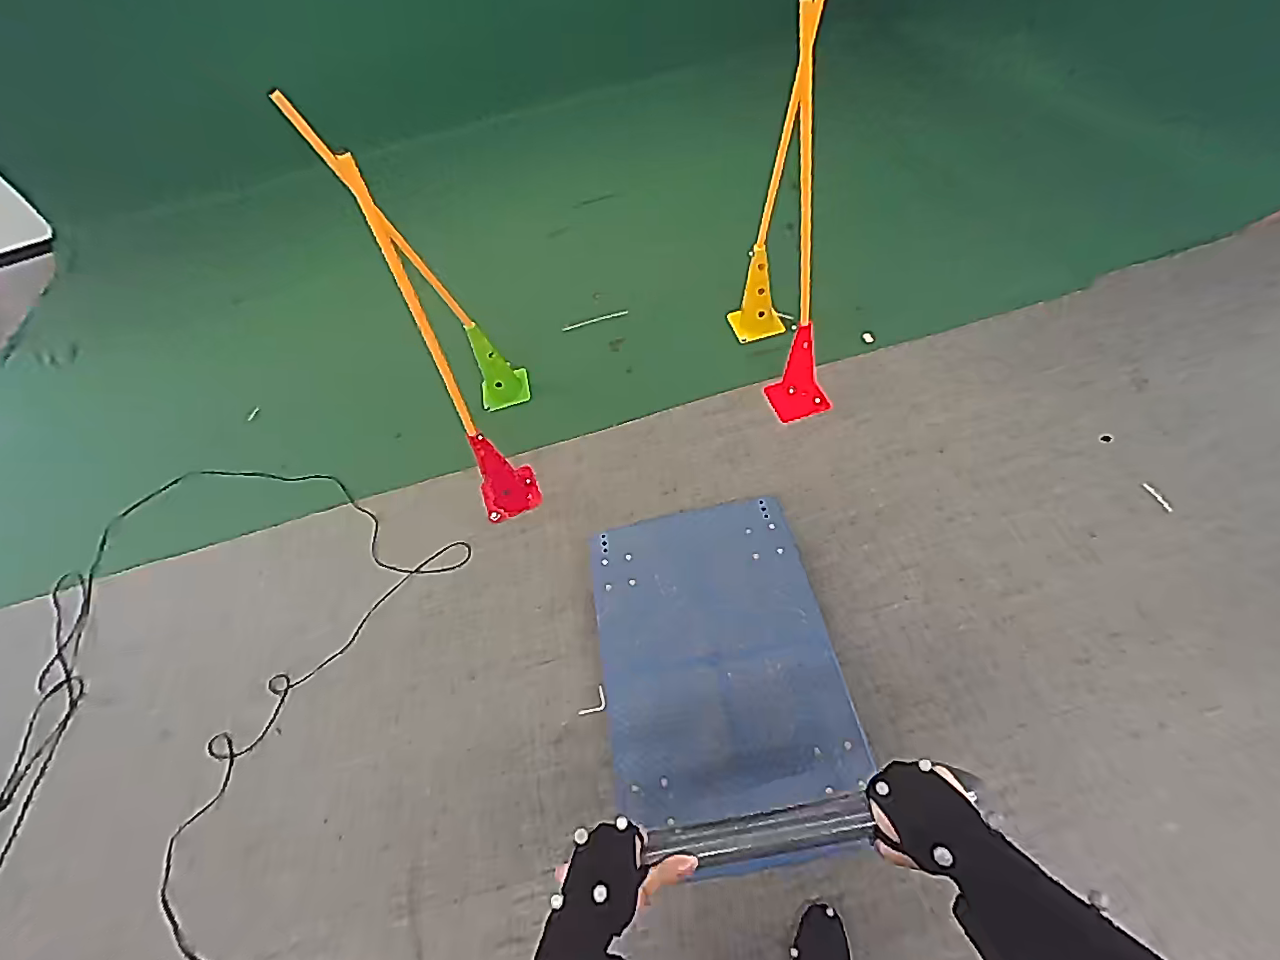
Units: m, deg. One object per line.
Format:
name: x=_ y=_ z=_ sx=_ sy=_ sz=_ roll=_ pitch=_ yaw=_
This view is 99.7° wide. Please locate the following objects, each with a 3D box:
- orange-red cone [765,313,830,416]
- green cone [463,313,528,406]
orange-red cone: x=0.557 y=-0.422 z=1.872 sx=0.198 sy=0.360 sz=0.199 roll=-16 pitch=53 yaw=-1
green cone: x=-0.600 y=-0.500 z=2.138 sx=0.200 sy=0.368 sz=0.202 roll=-17 pitch=54 yaw=0
